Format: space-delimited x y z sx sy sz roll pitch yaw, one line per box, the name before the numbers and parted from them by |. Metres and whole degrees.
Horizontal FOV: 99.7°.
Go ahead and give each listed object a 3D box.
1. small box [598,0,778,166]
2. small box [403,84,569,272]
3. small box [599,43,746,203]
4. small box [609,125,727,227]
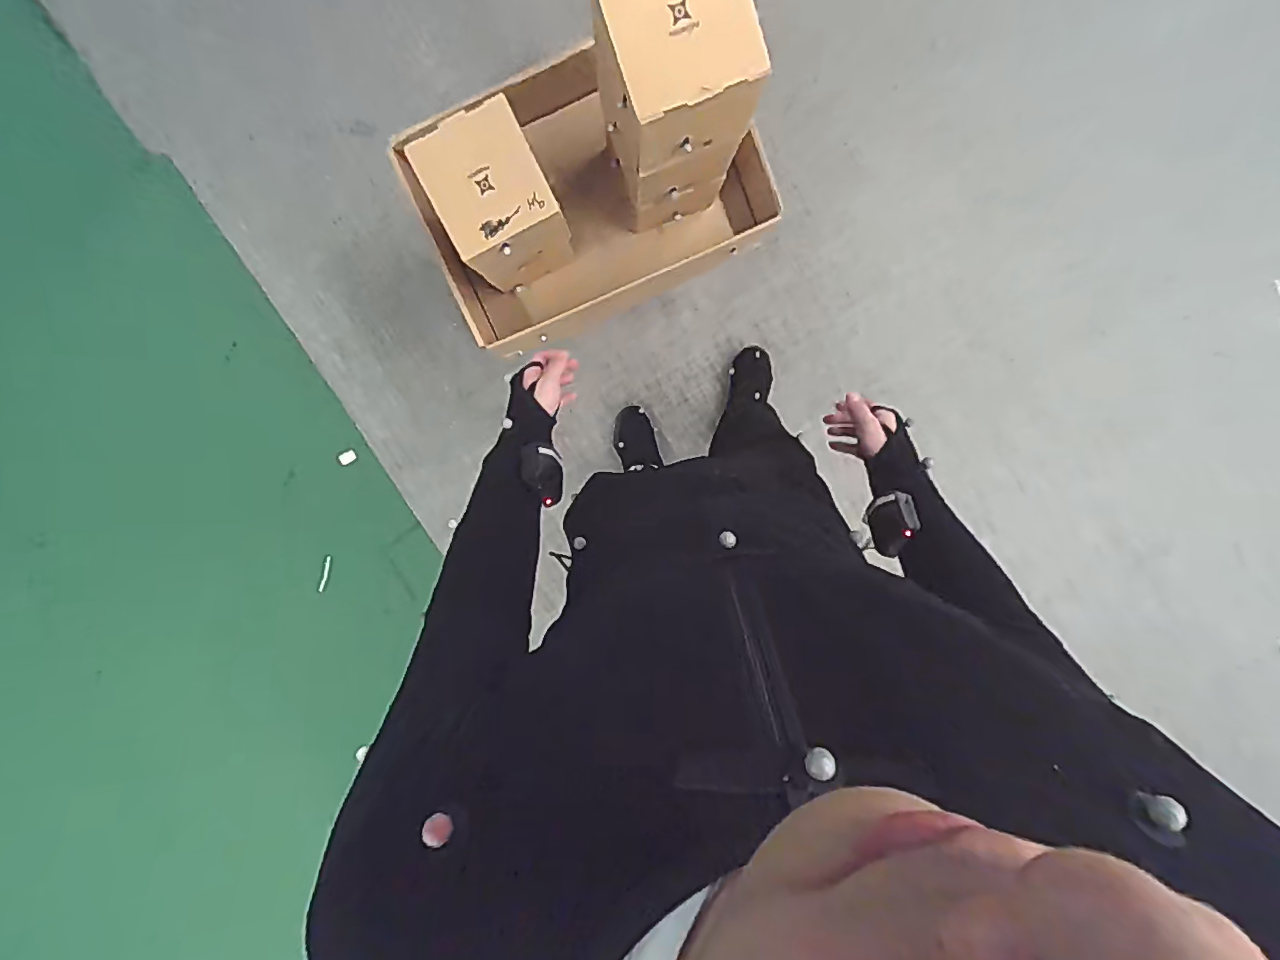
small box | 0.049 -0.533 0.671 0.168 0.176 0.179 -20 101 3
small box | -0.226 -0.452 0.842 0.168 0.176 0.179 -26 100 4
small box | 0.043 -0.562 0.830 0.168 0.176 0.179 -20 101 3
small box | 0.043 -0.596 0.989 0.168 0.176 0.179 -19 101 2
